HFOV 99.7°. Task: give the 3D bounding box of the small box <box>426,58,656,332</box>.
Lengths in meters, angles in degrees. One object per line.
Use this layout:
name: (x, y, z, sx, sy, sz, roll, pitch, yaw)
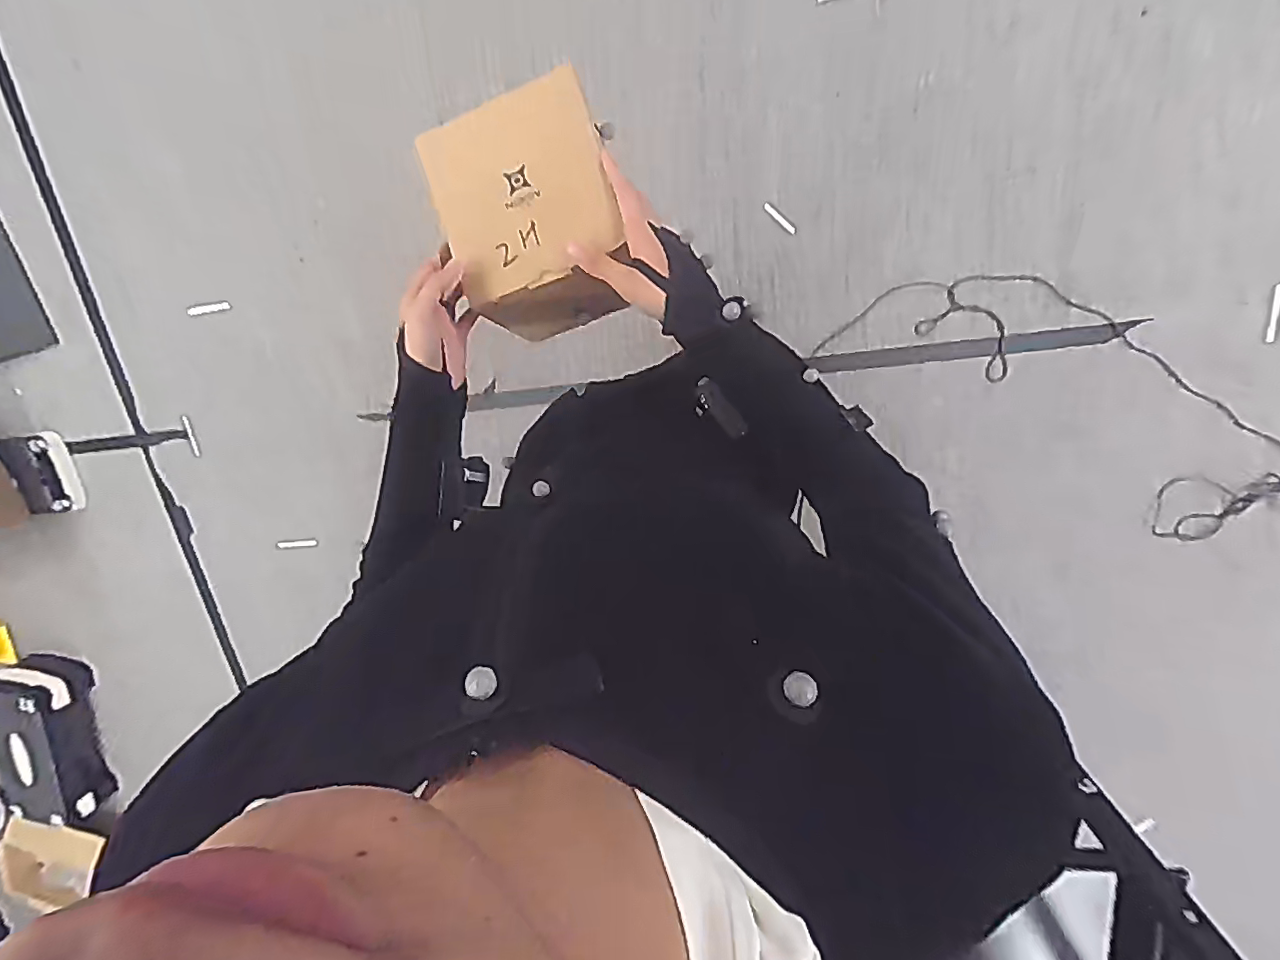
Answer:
small box: (-0.091, -0.282, 0.580, 0.168, 0.176, 0.179, -18, 91, 10)
